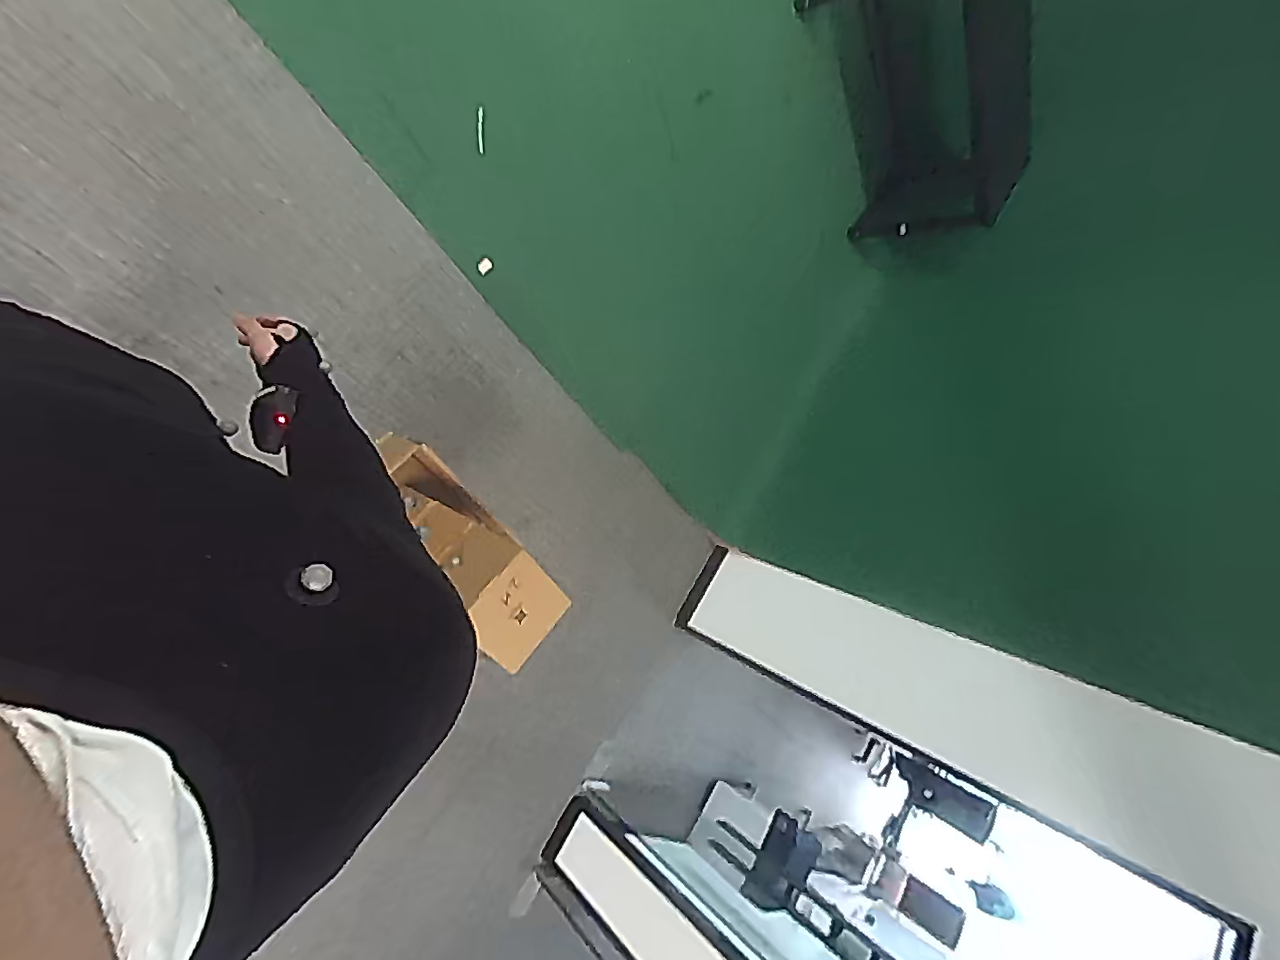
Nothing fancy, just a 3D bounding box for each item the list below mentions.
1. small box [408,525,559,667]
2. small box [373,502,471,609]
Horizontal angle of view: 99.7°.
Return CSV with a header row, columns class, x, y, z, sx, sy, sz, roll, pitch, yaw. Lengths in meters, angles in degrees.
class,x,y,z,sx,sy,sz,roll,pitch,yaw
small box,-0.293,0.210,1.018,0.168,0.176,0.179,-50,133,-23
small box,-0.412,0.169,1.126,0.168,0.176,0.179,-50,134,-22
